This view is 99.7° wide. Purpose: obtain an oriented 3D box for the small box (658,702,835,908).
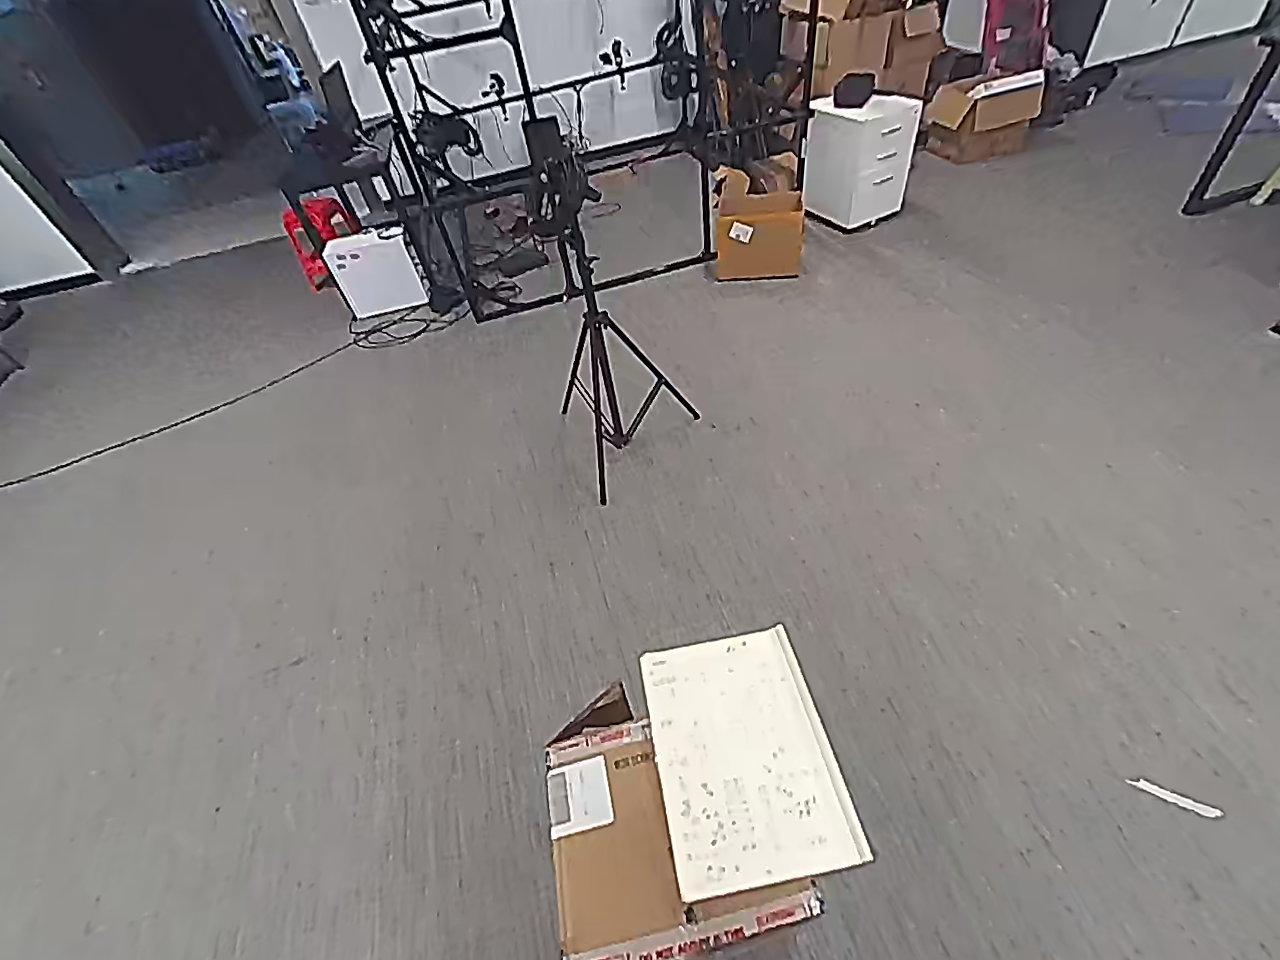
[{"bbox_3d":[0.119,0.410,0.682,0.168,0.176,0.179,-10,48,-3],"label":"small box"}]
